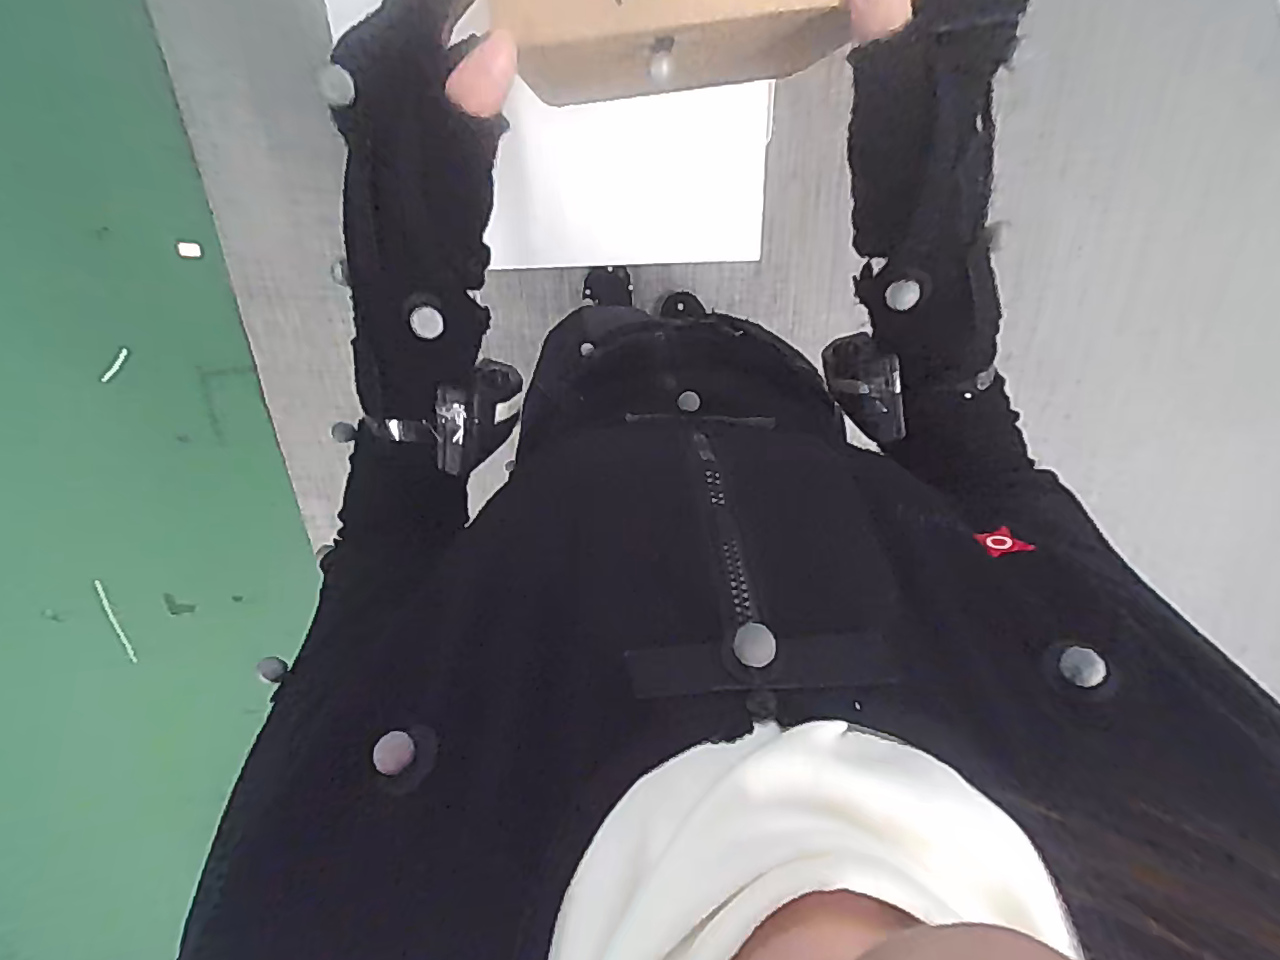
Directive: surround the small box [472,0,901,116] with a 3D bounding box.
[{"bbox_3d":[0.008,-0.284,0.239,0.168,0.176,0.179,-6,118,1],"label":"small box"}]
